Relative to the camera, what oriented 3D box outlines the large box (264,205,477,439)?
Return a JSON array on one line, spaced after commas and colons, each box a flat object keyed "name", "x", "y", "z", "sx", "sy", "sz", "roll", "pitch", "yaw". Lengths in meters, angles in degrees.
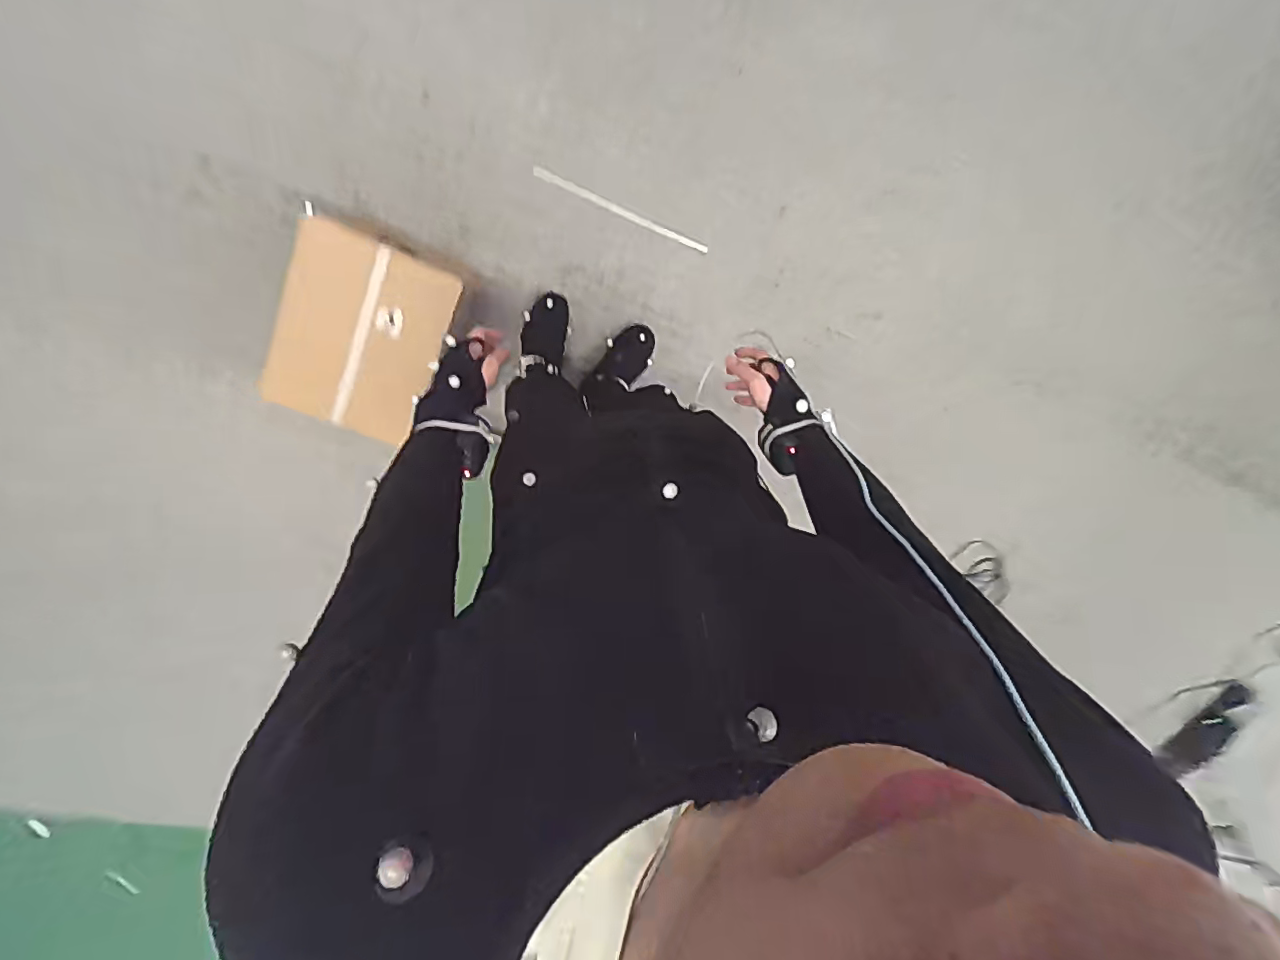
[{"name": "large box", "x": -0.613, "y": -0.368, "z": 1.276, "sx": 0.320, "sy": 0.320, "sz": 0.408, "roll": 21, "pitch": 109, "yaw": -19}]
